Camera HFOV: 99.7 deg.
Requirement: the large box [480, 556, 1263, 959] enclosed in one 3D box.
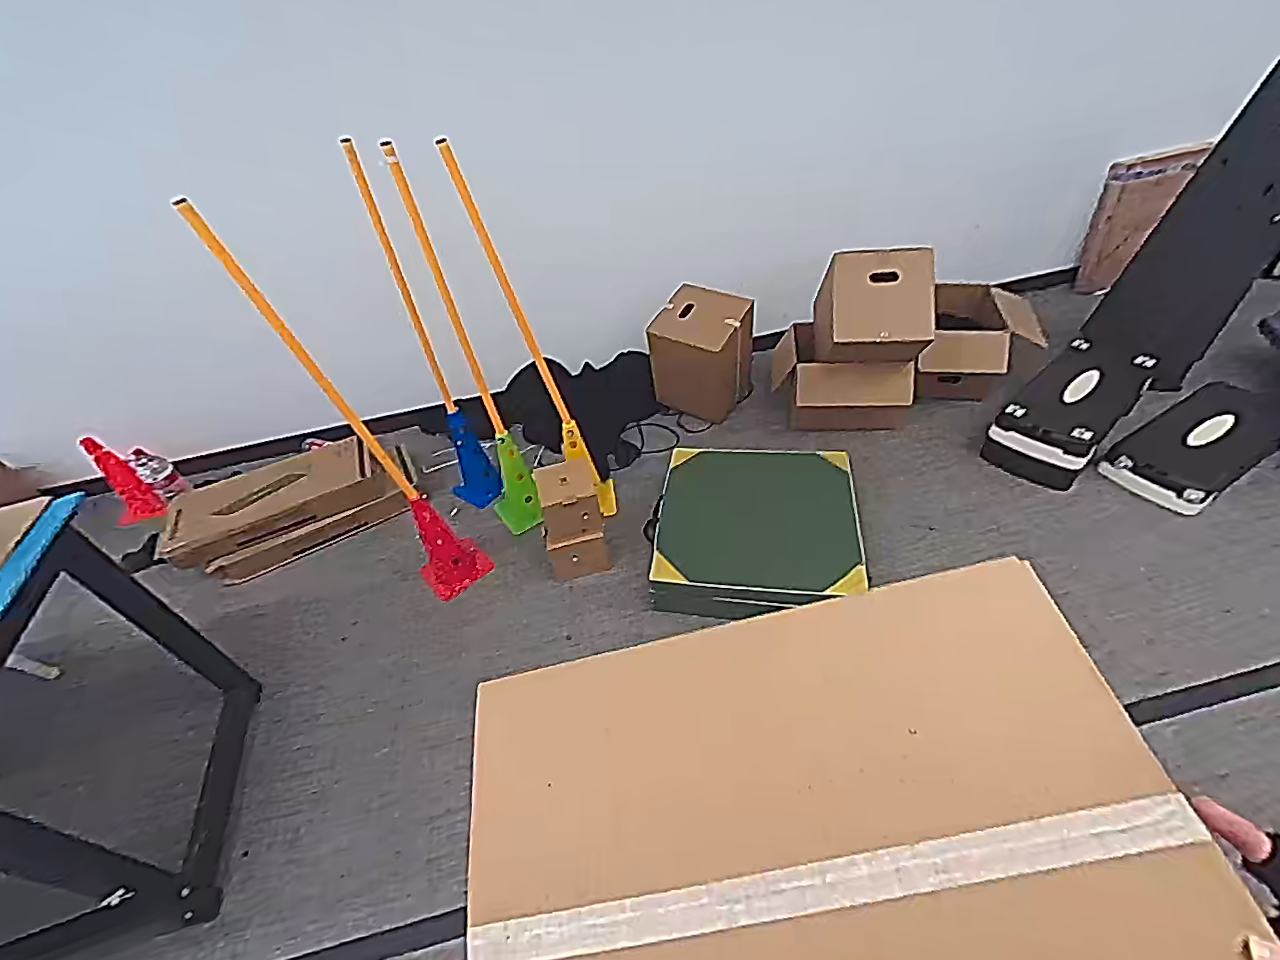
[{"bbox_3d":[0.130,0.308,0.430,0.408,0.320,0.320,-16,52,7],"label":"large box"}]
